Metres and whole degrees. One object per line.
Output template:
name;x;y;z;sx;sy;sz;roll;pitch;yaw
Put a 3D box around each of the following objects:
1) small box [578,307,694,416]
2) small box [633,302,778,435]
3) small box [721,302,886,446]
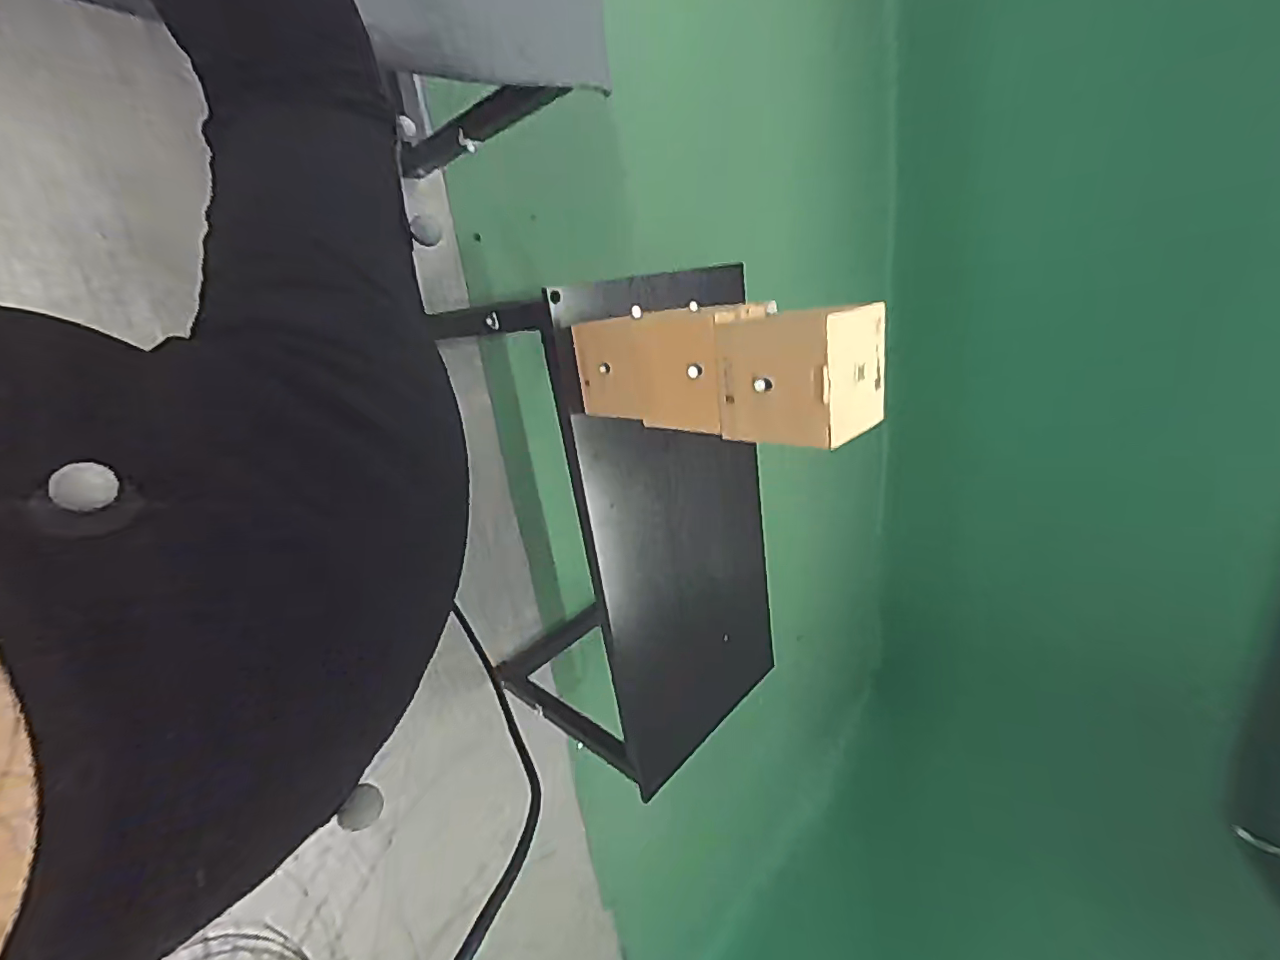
small box;0.003;-0.218;0.988;0.179;0.176;0.168;-25;117;-41
small box;0.108;-0.184;0.868;0.168;0.176;0.179;-25;115;-40
small box;0.225;-0.151;0.758;0.179;0.176;0.168;-23;114;-40
